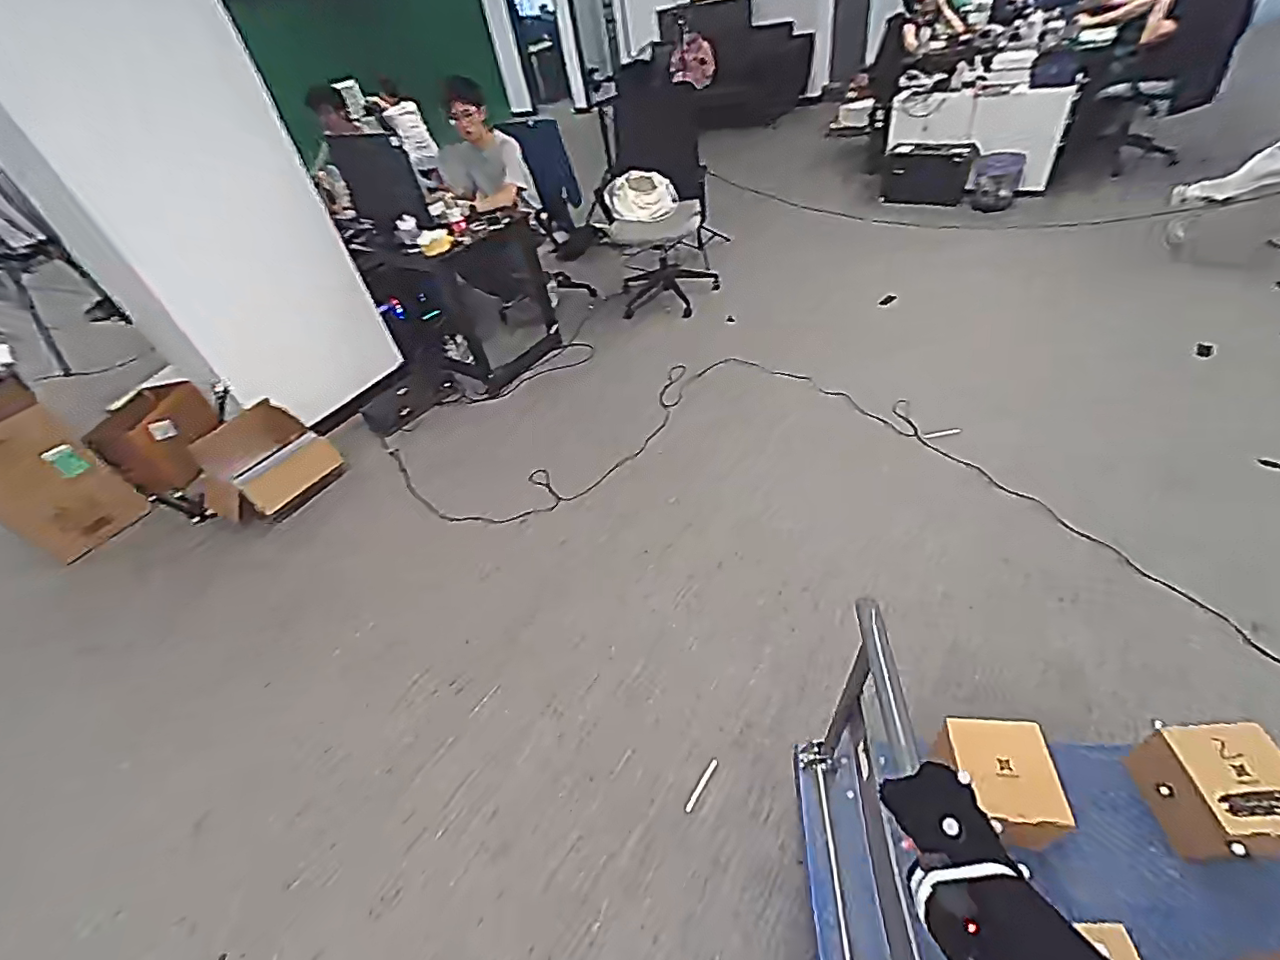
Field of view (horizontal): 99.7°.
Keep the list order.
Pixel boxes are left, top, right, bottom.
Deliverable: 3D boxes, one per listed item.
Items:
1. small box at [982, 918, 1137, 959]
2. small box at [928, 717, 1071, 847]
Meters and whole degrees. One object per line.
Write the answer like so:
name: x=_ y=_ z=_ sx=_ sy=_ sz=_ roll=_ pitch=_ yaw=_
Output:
small box: x=0.663 y=0.802 z=0.832 sx=0.168 sy=0.176 sz=0.179 roll=-5 pitch=43 yaw=8
small box: x=0.683 y=0.588 z=1.055 sx=0.168 sy=0.176 sz=0.179 roll=-2 pitch=45 yaw=11
